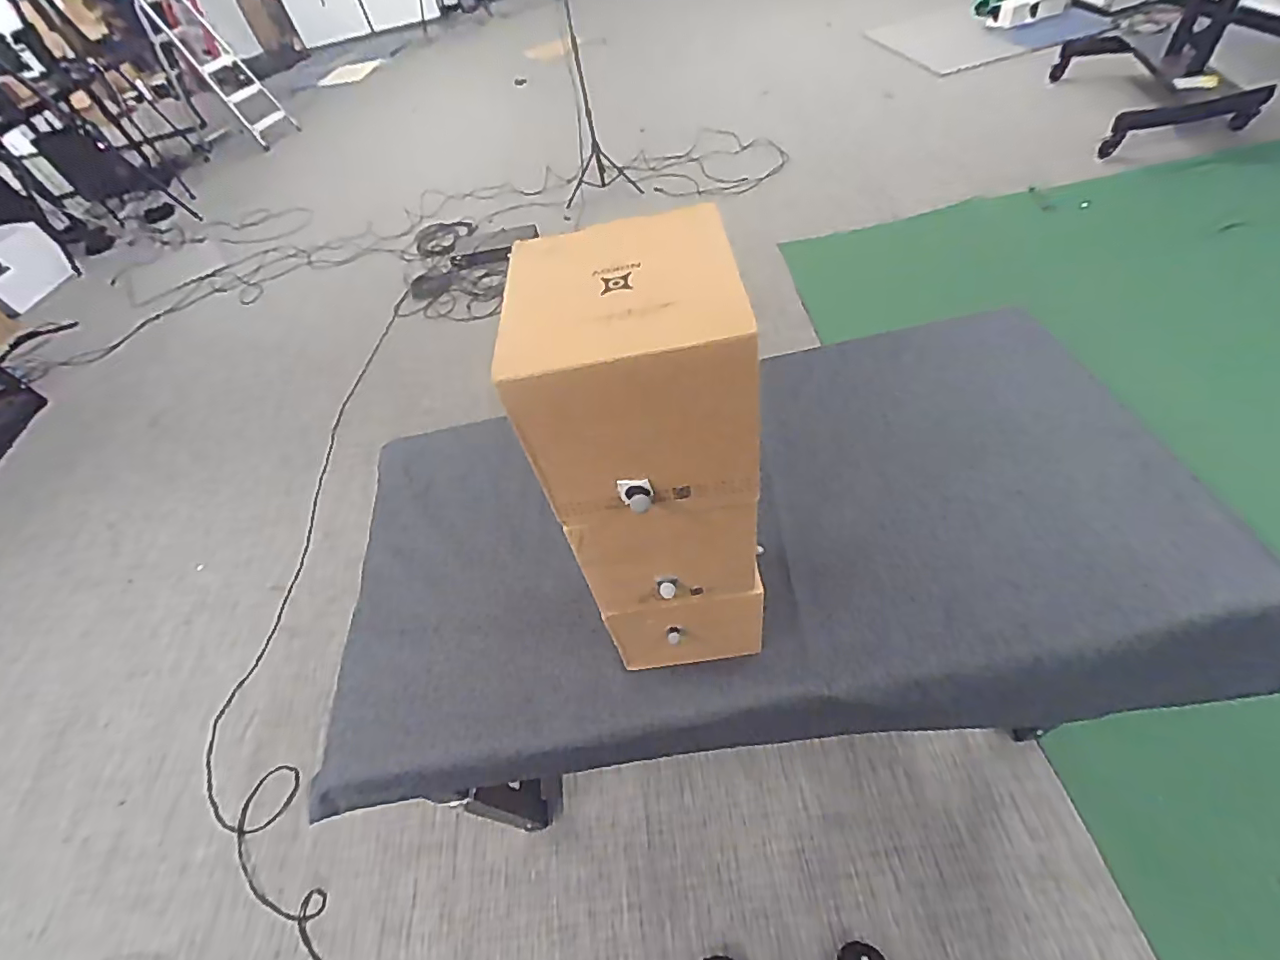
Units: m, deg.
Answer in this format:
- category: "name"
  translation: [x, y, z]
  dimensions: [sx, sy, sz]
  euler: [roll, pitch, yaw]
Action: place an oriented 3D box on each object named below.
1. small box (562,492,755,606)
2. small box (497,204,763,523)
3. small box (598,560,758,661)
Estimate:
- category: "small box"
  translation: [0.021, 0.009, 0.566]
  dimensions: [0.168, 0.176, 0.179]
  euler: [-8, 51, 4]
- category: "small box"
  translation: [0.000, -0.089, 0.440]
  dimensions: [0.168, 0.176, 0.179]
  euler: [-9, 51, 5]
- category: "small box"
  translation: [0.049, 0.116, 0.688]
  dimensions: [0.179, 0.176, 0.168]
  euler: [-9, 51, 5]
